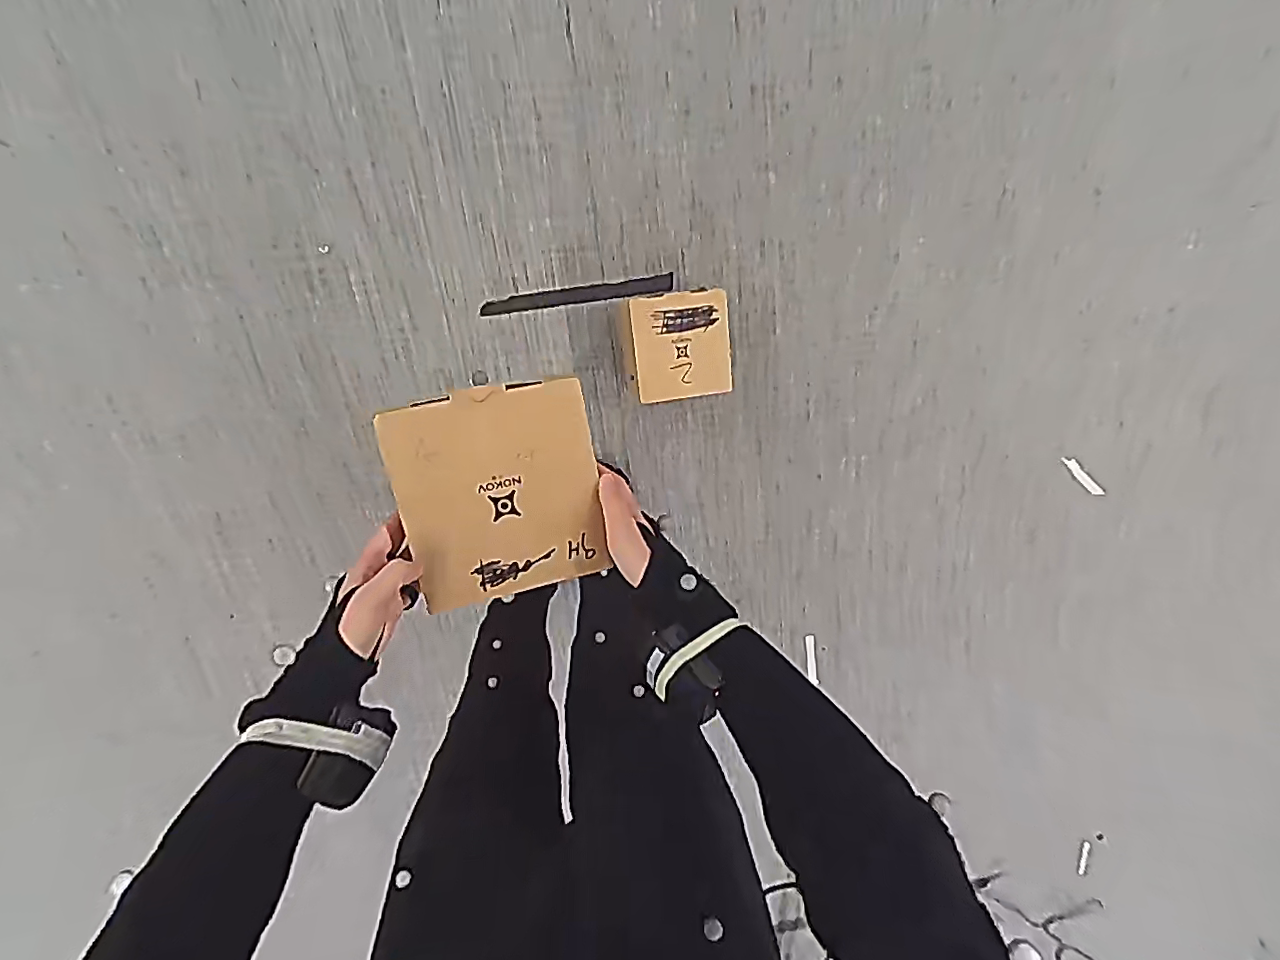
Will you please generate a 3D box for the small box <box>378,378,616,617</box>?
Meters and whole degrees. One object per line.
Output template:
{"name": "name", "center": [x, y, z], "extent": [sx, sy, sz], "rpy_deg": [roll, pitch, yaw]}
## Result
{"name": "small box", "center": [-0.134, 0.004, 0.528], "extent": [0.168, 0.176, 0.179], "rpy_deg": [-13, 102, -12]}
